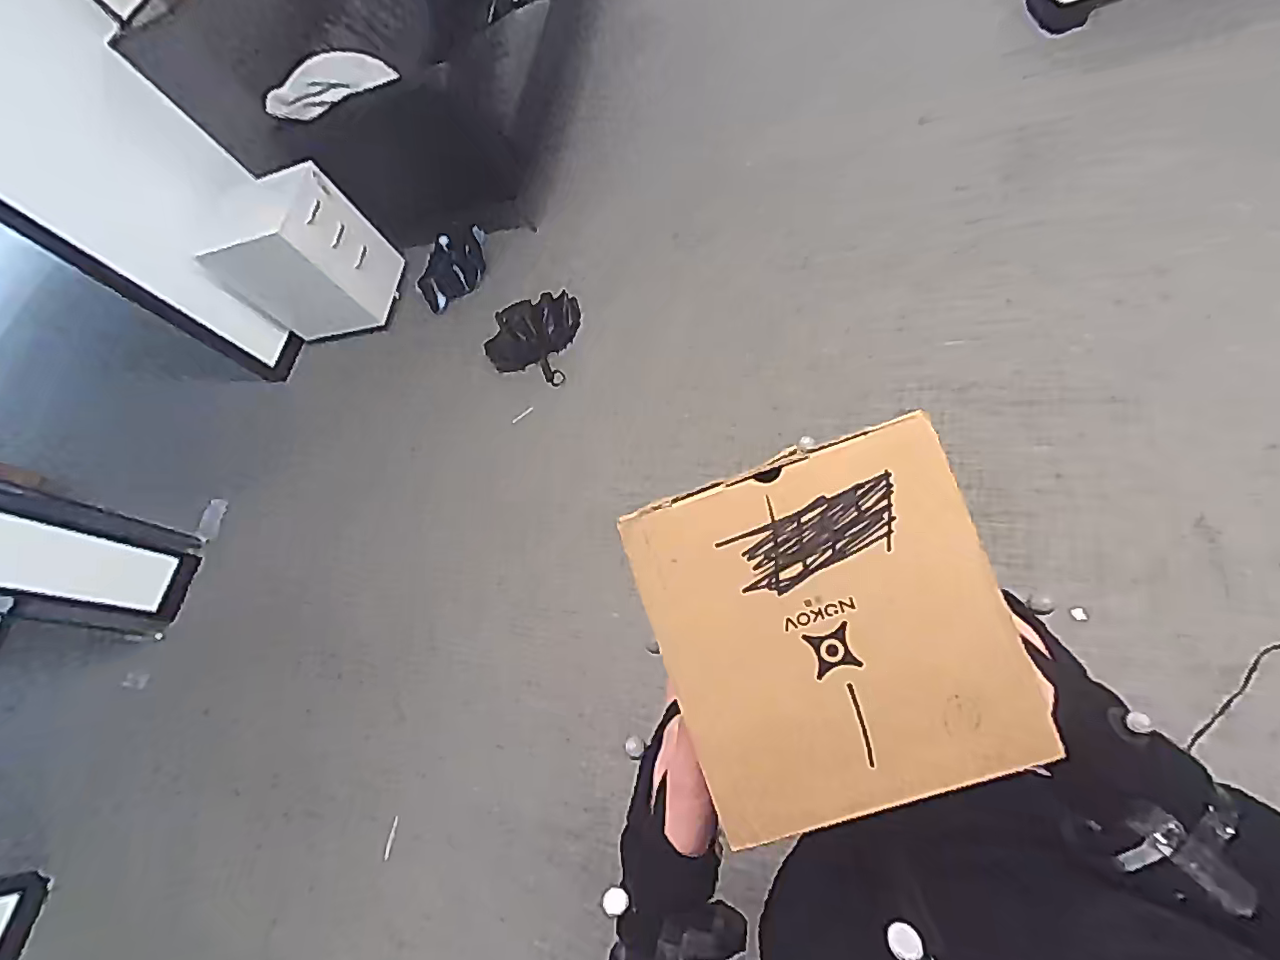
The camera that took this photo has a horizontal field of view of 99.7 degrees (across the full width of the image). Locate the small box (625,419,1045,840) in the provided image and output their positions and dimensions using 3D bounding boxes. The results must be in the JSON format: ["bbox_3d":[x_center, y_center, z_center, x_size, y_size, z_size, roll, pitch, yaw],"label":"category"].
[{"bbox_3d":[0.100,0.079,0.352,0.168,0.176,0.179,-19,87,6],"label":"small box"}]
